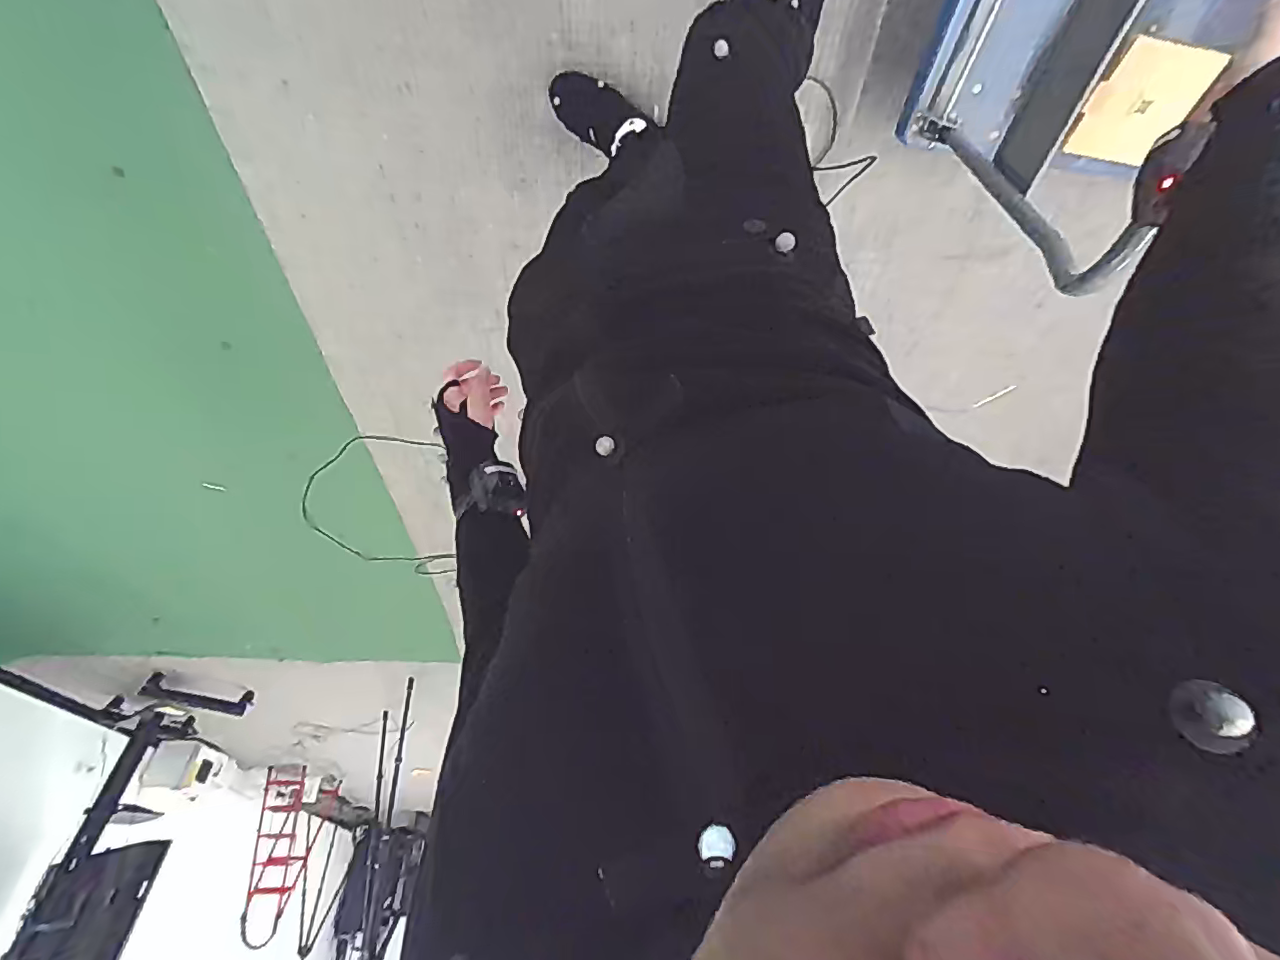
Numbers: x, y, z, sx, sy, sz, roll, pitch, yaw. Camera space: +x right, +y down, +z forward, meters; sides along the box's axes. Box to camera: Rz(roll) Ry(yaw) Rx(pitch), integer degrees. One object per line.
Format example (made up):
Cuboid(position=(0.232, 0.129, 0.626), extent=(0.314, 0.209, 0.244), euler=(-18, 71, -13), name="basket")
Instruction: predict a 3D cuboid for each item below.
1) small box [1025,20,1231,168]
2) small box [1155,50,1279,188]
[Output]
Cuboid(position=(0.845, -0.685, 0.959), extent=(0.179, 0.176, 0.168), euler=(7, 139, -5), name="small box")
Cuboid(position=(1.090, -0.658, 0.984), extent=(0.179, 0.176, 0.168), euler=(4, 138, -3), name="small box")
